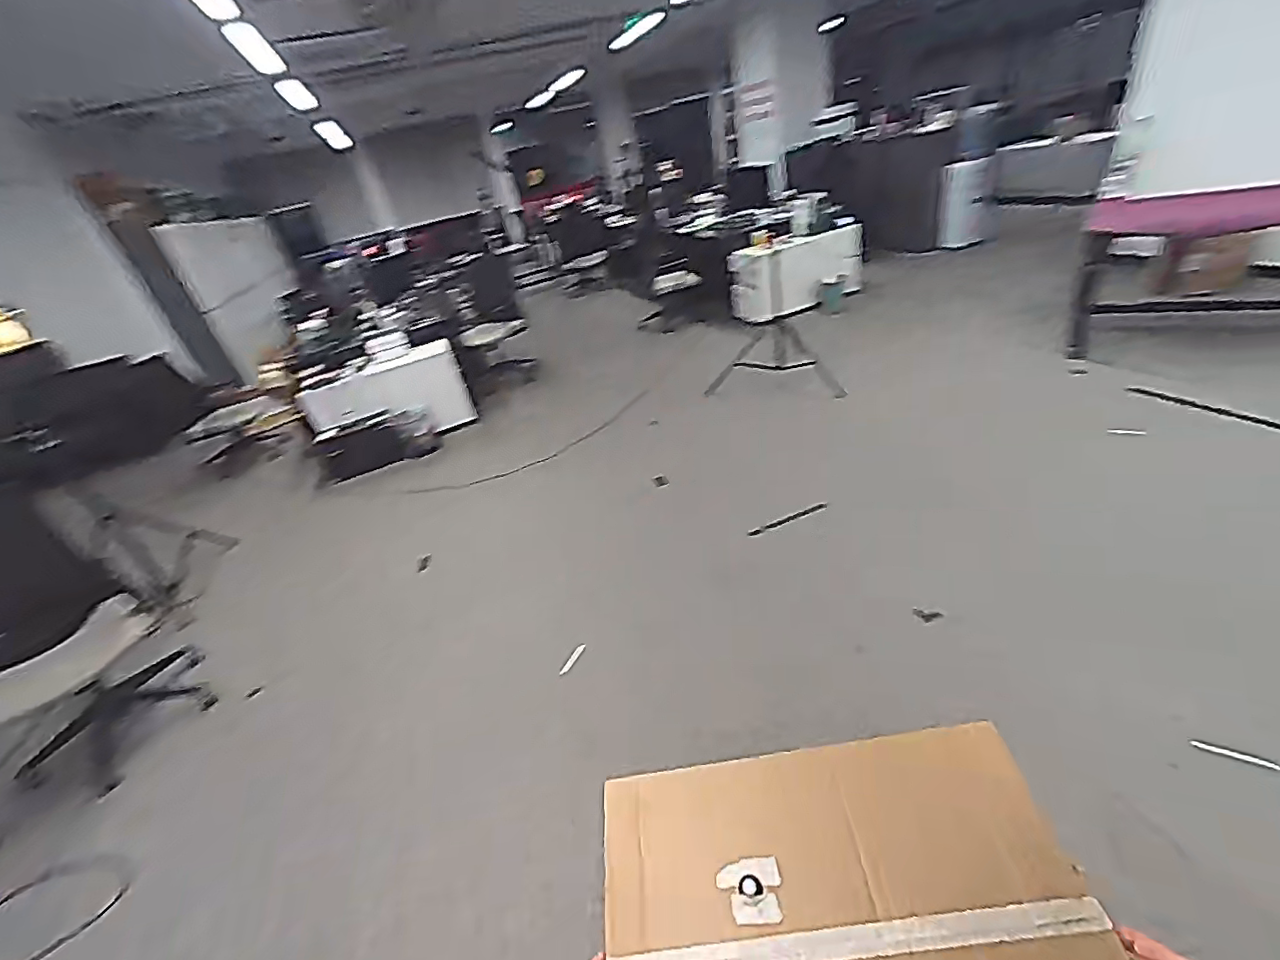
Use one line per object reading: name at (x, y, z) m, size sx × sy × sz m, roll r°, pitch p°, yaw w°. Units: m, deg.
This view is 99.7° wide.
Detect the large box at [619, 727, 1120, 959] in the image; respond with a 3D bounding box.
large box at (0.215, 0.500, 0.562) m, size 0.408 × 0.320 × 0.320 m, roll -12°, pitch 42°, yaw 7°
